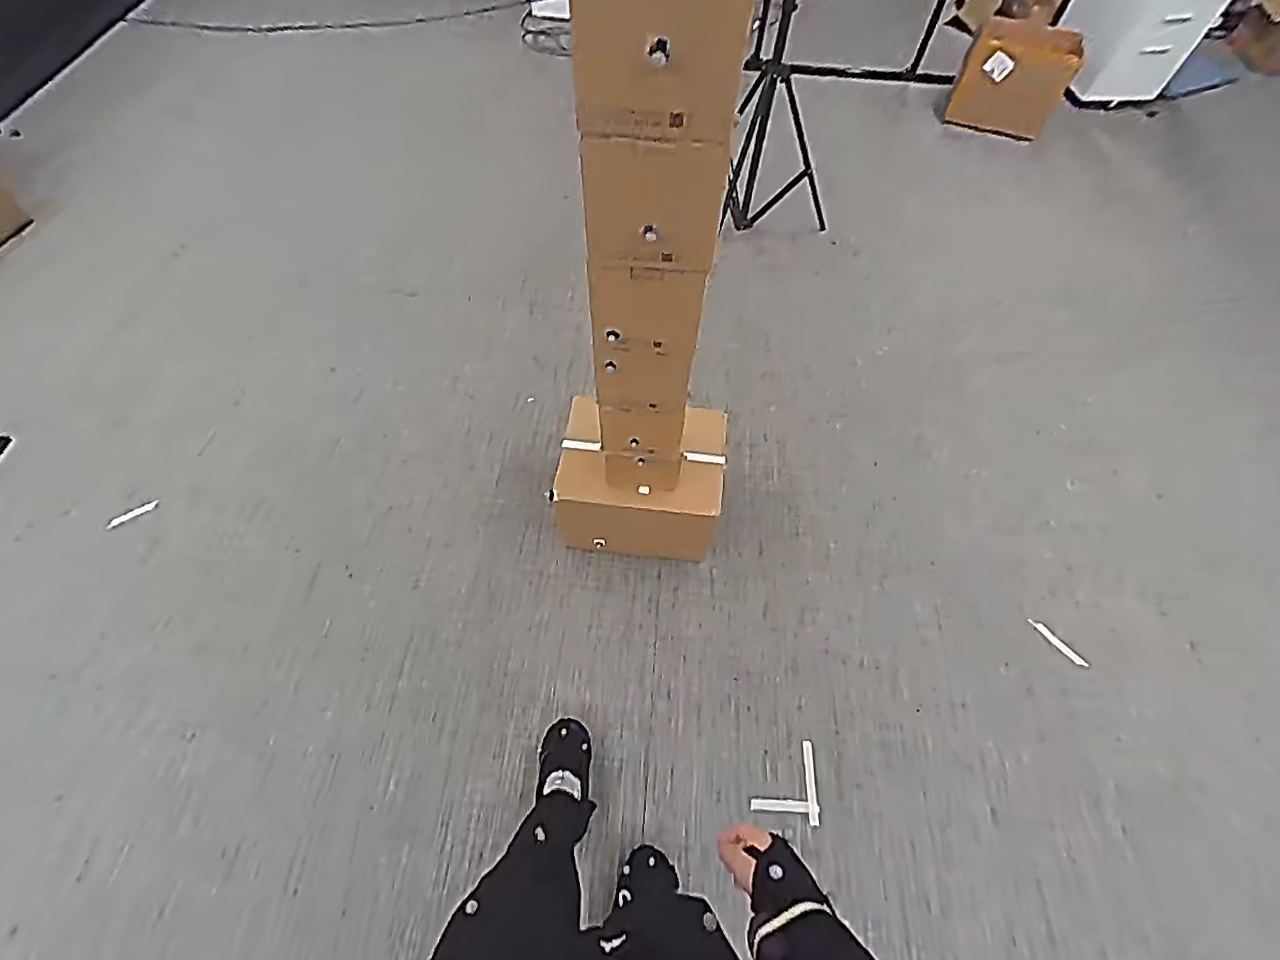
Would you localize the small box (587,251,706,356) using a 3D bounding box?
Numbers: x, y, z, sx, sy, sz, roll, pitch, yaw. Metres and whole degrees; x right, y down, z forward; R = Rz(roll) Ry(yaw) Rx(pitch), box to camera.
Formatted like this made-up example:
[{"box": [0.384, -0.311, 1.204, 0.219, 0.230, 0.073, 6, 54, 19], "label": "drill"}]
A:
[{"box": [0.018, -0.314, 0.837, 0.168, 0.176, 0.179, 7, 61, 2], "label": "small box"}]

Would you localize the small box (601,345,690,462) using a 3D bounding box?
[{"box": [0.011, -0.159, 1.125, 0.168, 0.176, 0.179, 5, 62, 1], "label": "small box"}]

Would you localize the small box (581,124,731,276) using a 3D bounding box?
[{"box": [0.021, -0.391, 0.691, 0.168, 0.176, 0.179, 4, 62, 1], "label": "small box"}]

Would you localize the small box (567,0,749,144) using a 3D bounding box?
[{"box": [0.021, -0.473, 0.549, 0.168, 0.176, 0.179, 3, 62, 0], "label": "small box"}]

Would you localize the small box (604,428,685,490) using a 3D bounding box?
[{"box": [0.012, -0.087, 1.271, 0.179, 0.176, 0.168, 4, 62, 0], "label": "small box"}]
